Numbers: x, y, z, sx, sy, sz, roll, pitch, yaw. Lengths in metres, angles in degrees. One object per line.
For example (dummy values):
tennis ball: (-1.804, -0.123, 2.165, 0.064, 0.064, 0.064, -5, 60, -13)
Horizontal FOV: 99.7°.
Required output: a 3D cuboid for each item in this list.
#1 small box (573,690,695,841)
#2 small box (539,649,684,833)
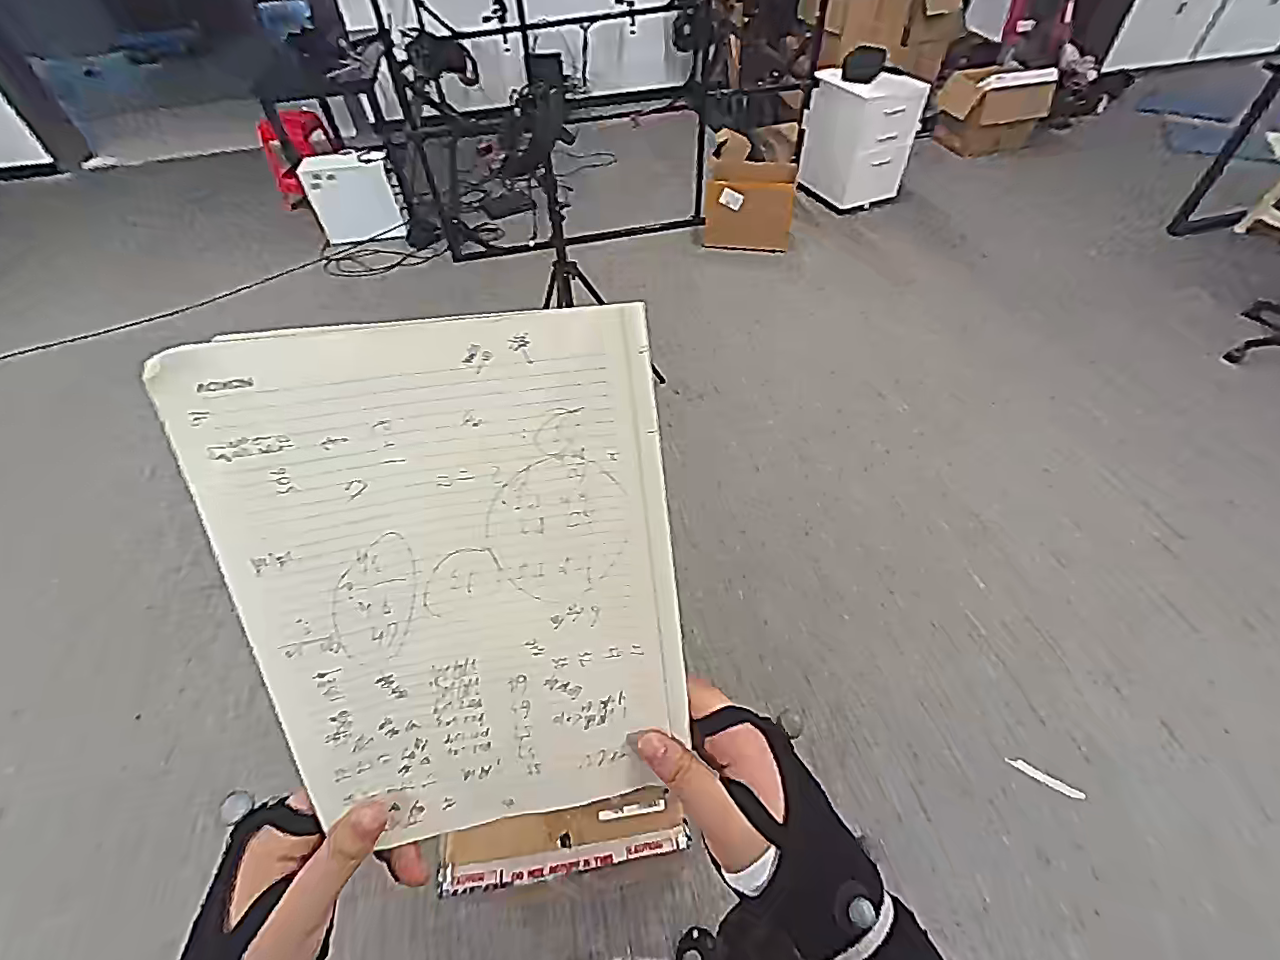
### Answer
small box: (-0.023, 0.446, 0.845, 0.179, 0.176, 0.168, -8, 51, -6)
small box: (-0.041, 0.345, 0.714, 0.168, 0.176, 0.179, -5, 52, -5)
